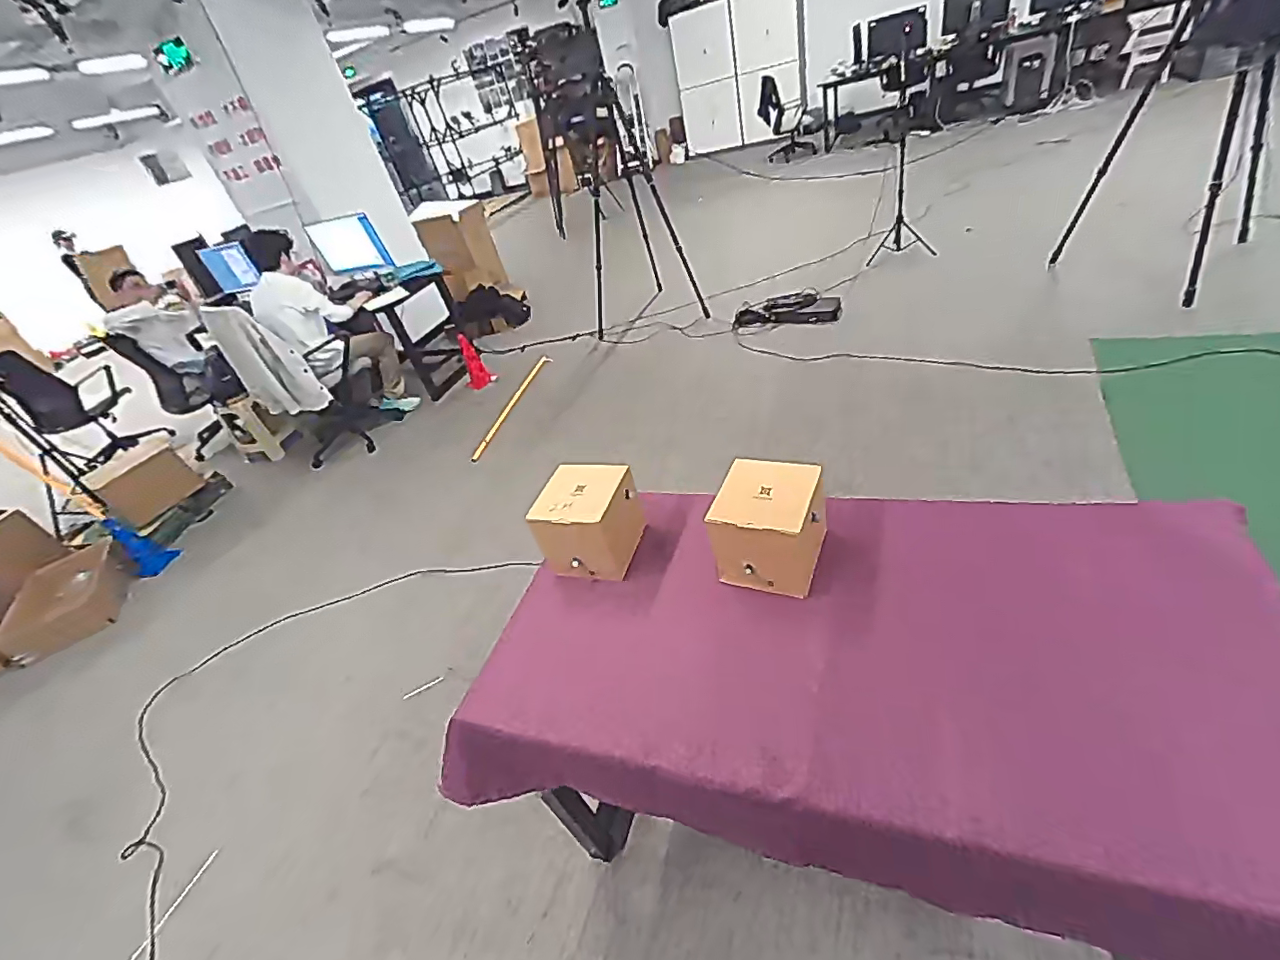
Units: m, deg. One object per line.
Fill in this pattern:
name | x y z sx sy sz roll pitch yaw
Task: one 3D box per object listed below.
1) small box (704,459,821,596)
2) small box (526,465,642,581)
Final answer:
small box | 0.236 0.085 1.005 0.168 0.176 0.179 7 44 29
small box | -0.107 0.087 1.138 0.168 0.176 0.179 1 41 24
